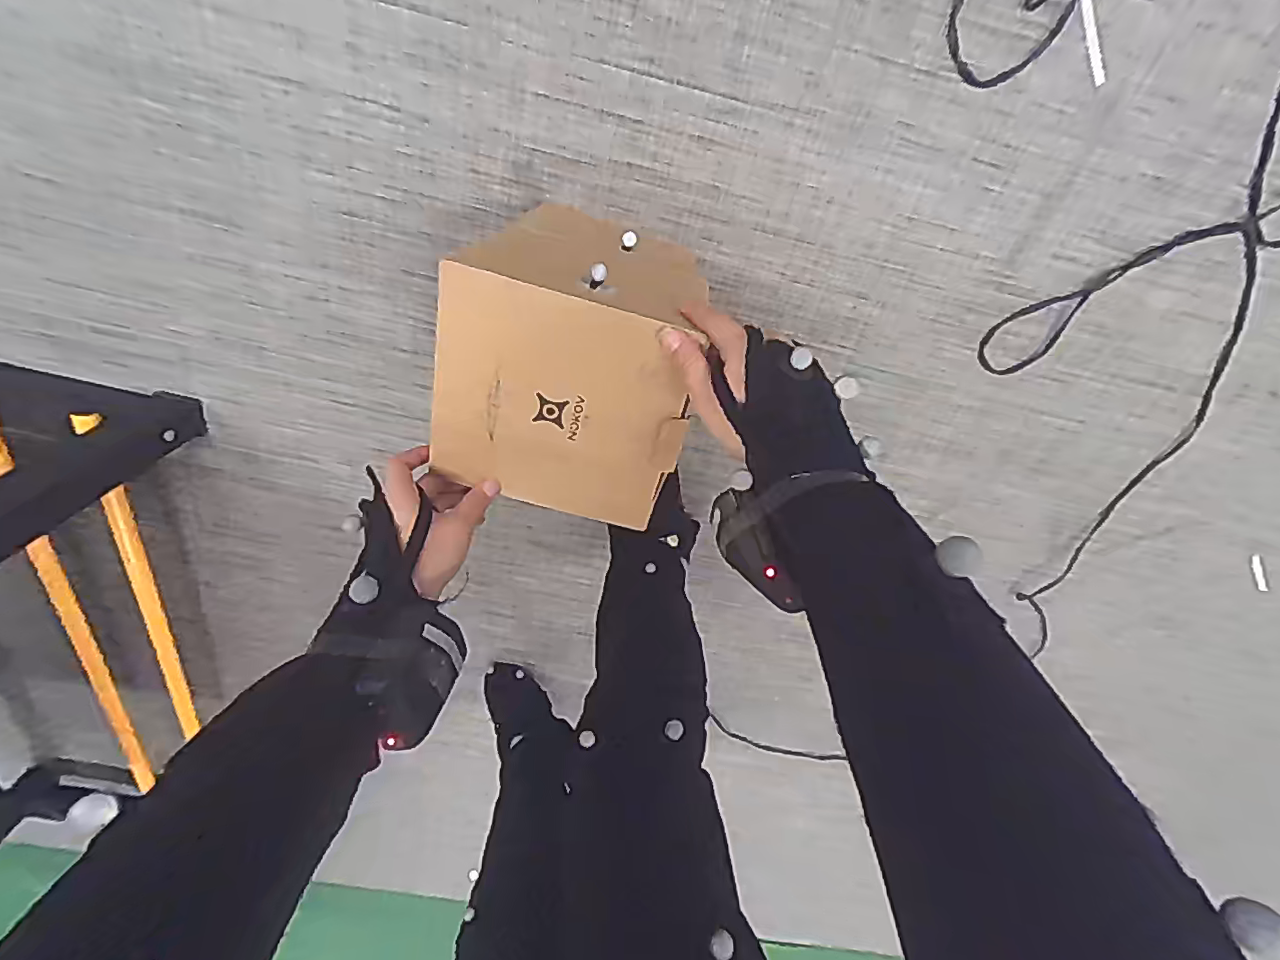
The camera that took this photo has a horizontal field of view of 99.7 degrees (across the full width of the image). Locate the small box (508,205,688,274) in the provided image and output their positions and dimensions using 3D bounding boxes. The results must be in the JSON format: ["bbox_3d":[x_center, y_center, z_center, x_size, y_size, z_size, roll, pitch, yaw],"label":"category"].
[{"bbox_3d":[-0.051,-0.182,0.587,0.179,0.176,0.168,15,123,-7],"label":"small box"}]

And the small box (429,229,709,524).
[{"bbox_3d":[-0.052,-0.094,0.447,0.179,0.176,0.168,15,122,-4],"label":"small box"}]
